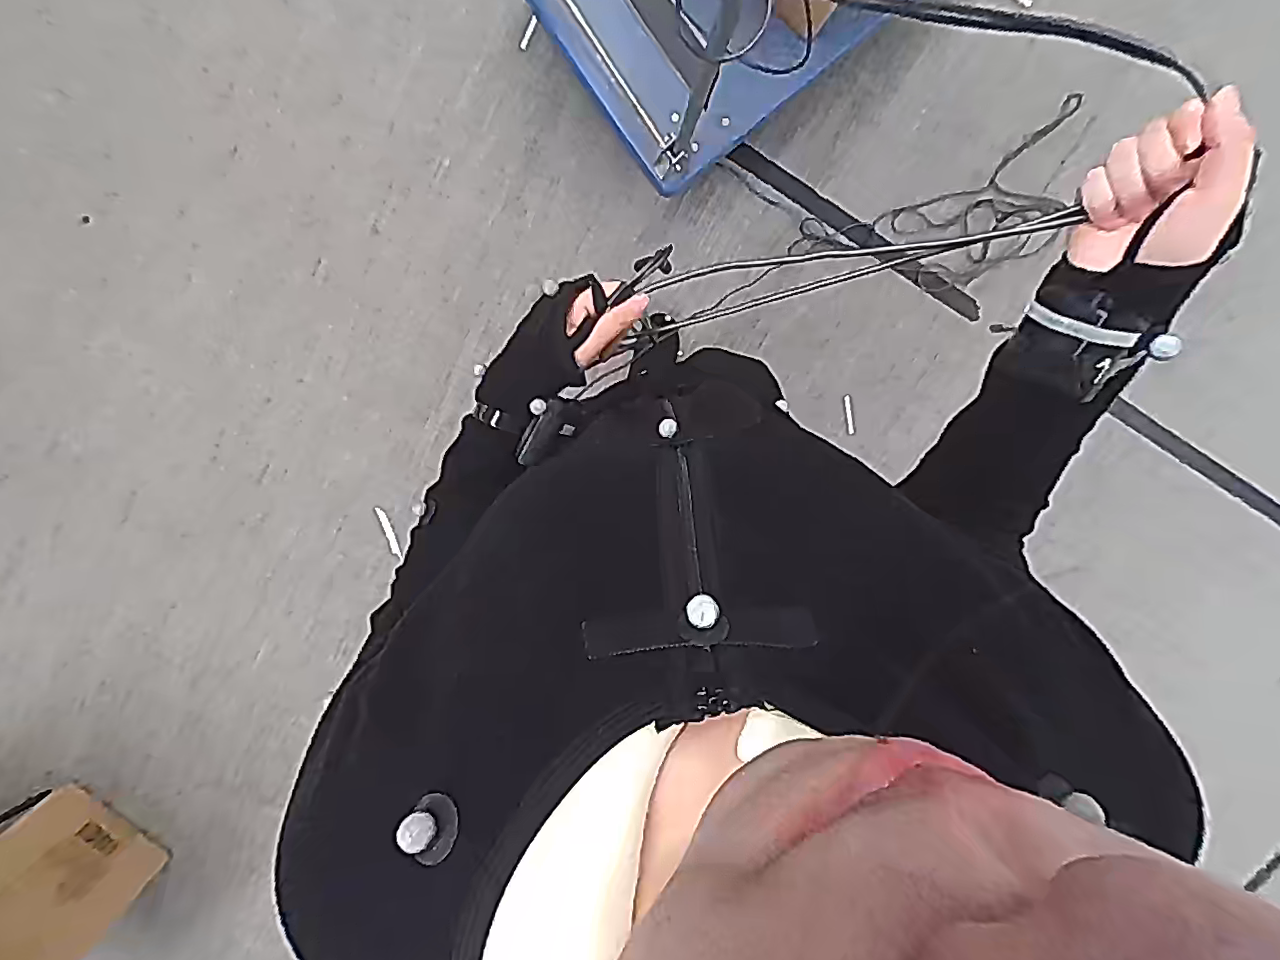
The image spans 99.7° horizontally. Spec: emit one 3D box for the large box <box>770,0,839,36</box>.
[{"bbox_3d":[0.285,-1.087,0.892,0.408,0.320,0.320,37,101,-10],"label":"large box"}]
